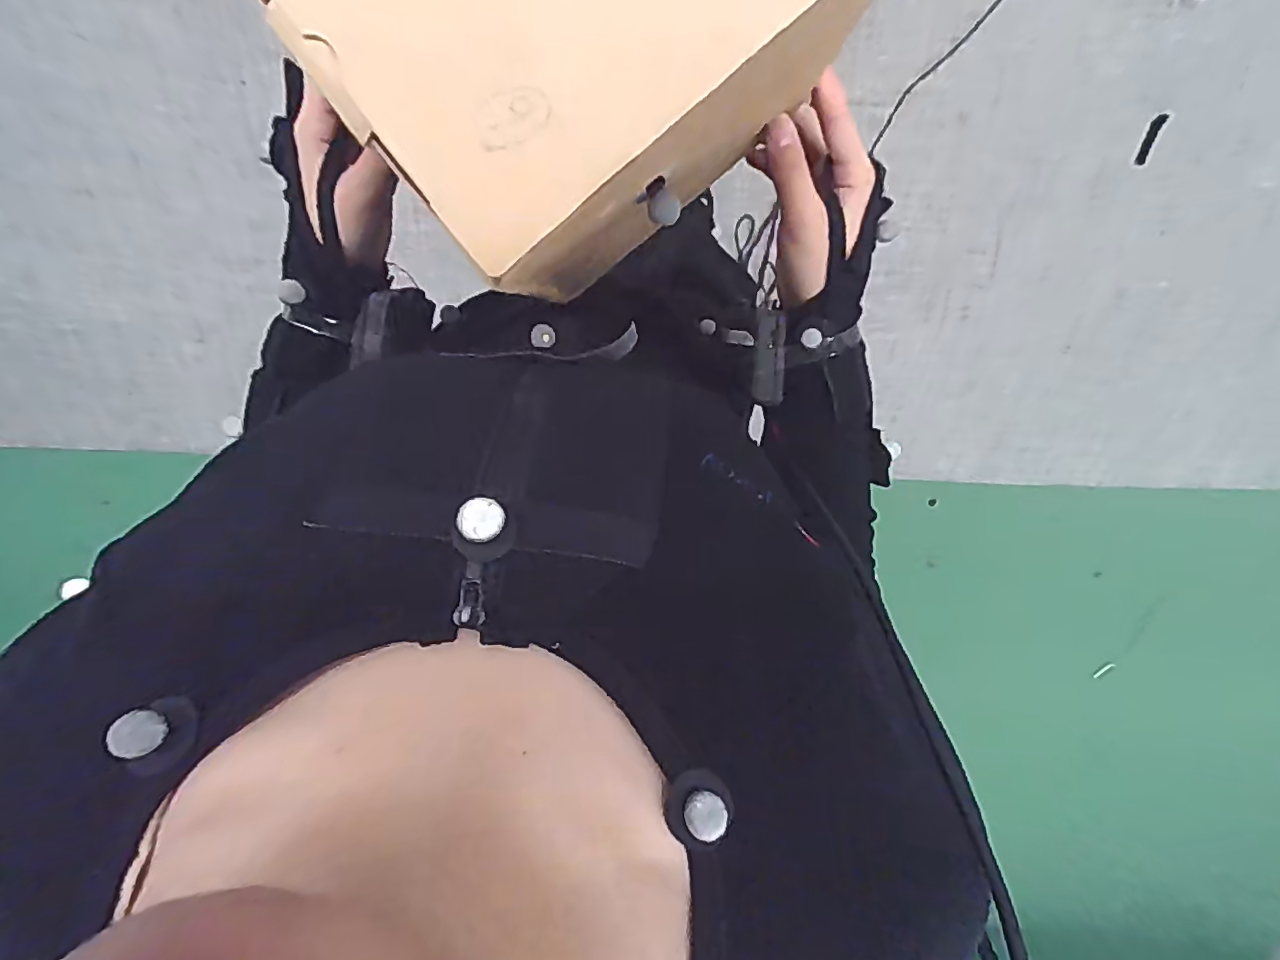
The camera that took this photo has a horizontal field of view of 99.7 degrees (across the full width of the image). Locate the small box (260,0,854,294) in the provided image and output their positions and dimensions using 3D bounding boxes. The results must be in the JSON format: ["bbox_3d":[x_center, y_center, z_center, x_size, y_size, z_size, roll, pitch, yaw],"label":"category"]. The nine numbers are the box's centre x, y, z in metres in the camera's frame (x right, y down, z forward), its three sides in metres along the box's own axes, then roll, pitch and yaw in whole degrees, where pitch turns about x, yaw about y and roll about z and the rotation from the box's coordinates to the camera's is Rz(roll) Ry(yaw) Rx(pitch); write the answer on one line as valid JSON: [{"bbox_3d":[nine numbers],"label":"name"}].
[{"bbox_3d":[-0.028,-0.200,0.234,0.179,0.176,0.168,-36,101,11],"label":"small box"}]
